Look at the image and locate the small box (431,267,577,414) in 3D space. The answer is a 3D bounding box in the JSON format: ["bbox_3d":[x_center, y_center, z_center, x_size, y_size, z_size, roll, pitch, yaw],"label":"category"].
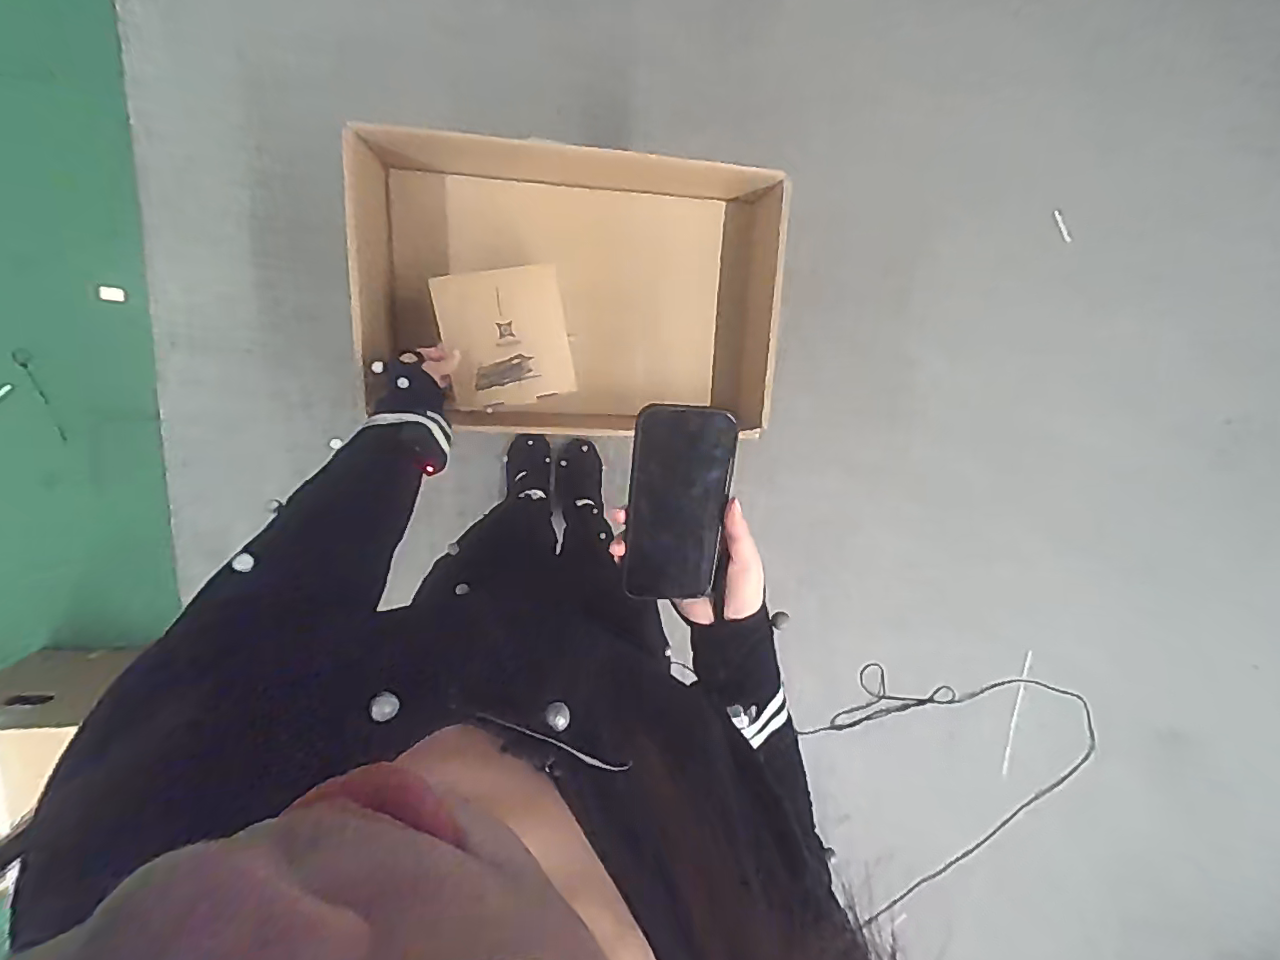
[{"bbox_3d":[-0.196,-0.201,0.806,0.168,0.176,0.179,-12,101,-12],"label":"small box"}]
